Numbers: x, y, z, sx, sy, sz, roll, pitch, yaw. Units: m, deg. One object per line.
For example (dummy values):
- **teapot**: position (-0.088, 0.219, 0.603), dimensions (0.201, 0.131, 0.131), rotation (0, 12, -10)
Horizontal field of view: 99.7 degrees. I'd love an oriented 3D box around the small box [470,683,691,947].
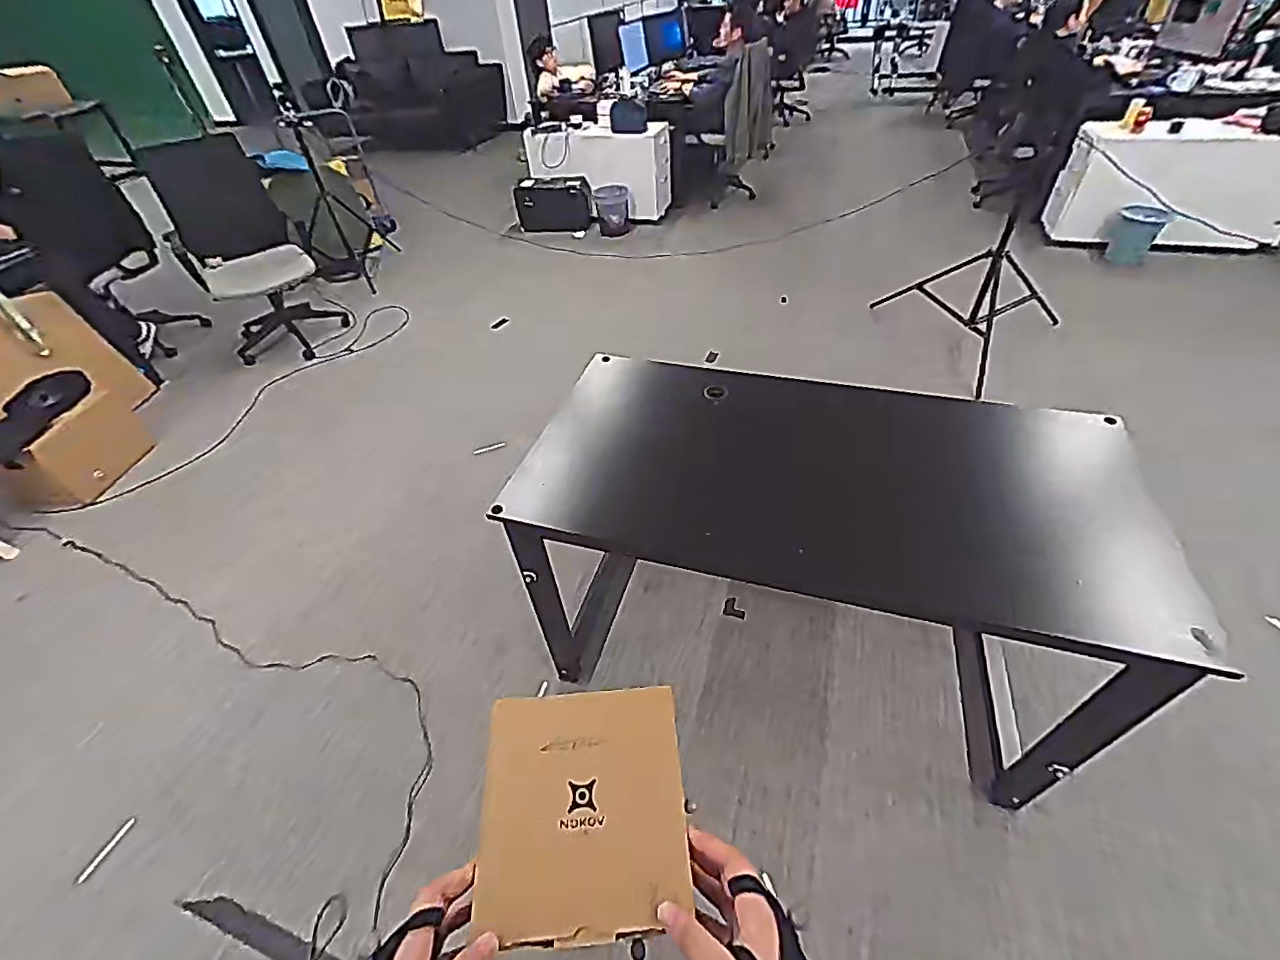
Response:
- **small box**: position (-0.046, 0.311, 0.504), dimensions (0.168, 0.176, 0.179), rotation (-4, 49, -2)
